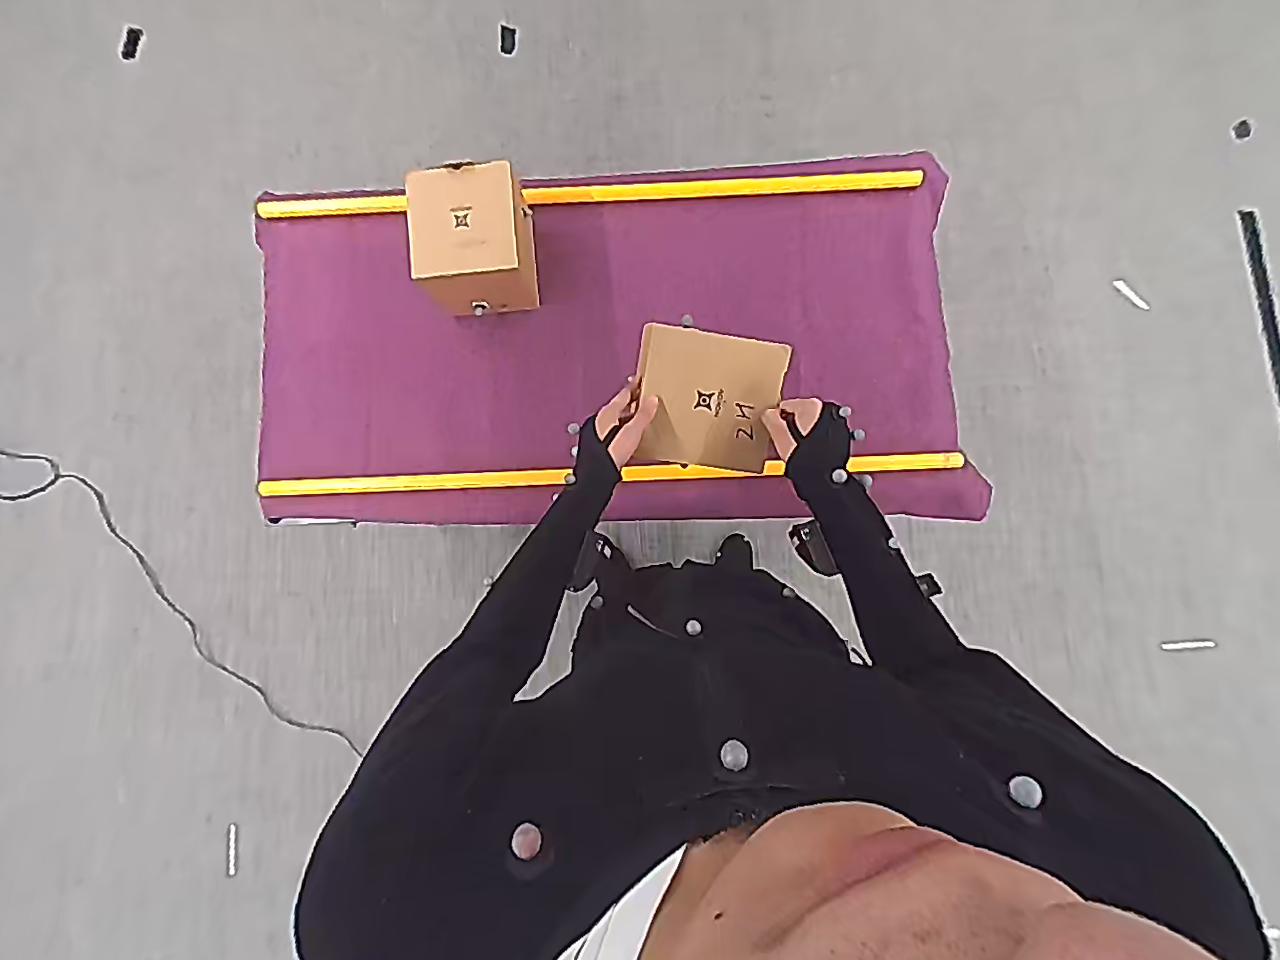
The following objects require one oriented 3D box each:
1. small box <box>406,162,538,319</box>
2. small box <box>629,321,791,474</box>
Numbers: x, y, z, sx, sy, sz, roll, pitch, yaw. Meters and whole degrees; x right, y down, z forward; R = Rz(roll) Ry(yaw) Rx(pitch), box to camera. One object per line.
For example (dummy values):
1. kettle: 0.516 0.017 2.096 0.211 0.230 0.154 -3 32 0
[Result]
1. small box: -0.272 -0.389 0.903 0.168 0.176 0.179 -6 85 1
2. small box: 0.081 -0.118 0.745 0.179 0.176 0.168 8 105 -5
